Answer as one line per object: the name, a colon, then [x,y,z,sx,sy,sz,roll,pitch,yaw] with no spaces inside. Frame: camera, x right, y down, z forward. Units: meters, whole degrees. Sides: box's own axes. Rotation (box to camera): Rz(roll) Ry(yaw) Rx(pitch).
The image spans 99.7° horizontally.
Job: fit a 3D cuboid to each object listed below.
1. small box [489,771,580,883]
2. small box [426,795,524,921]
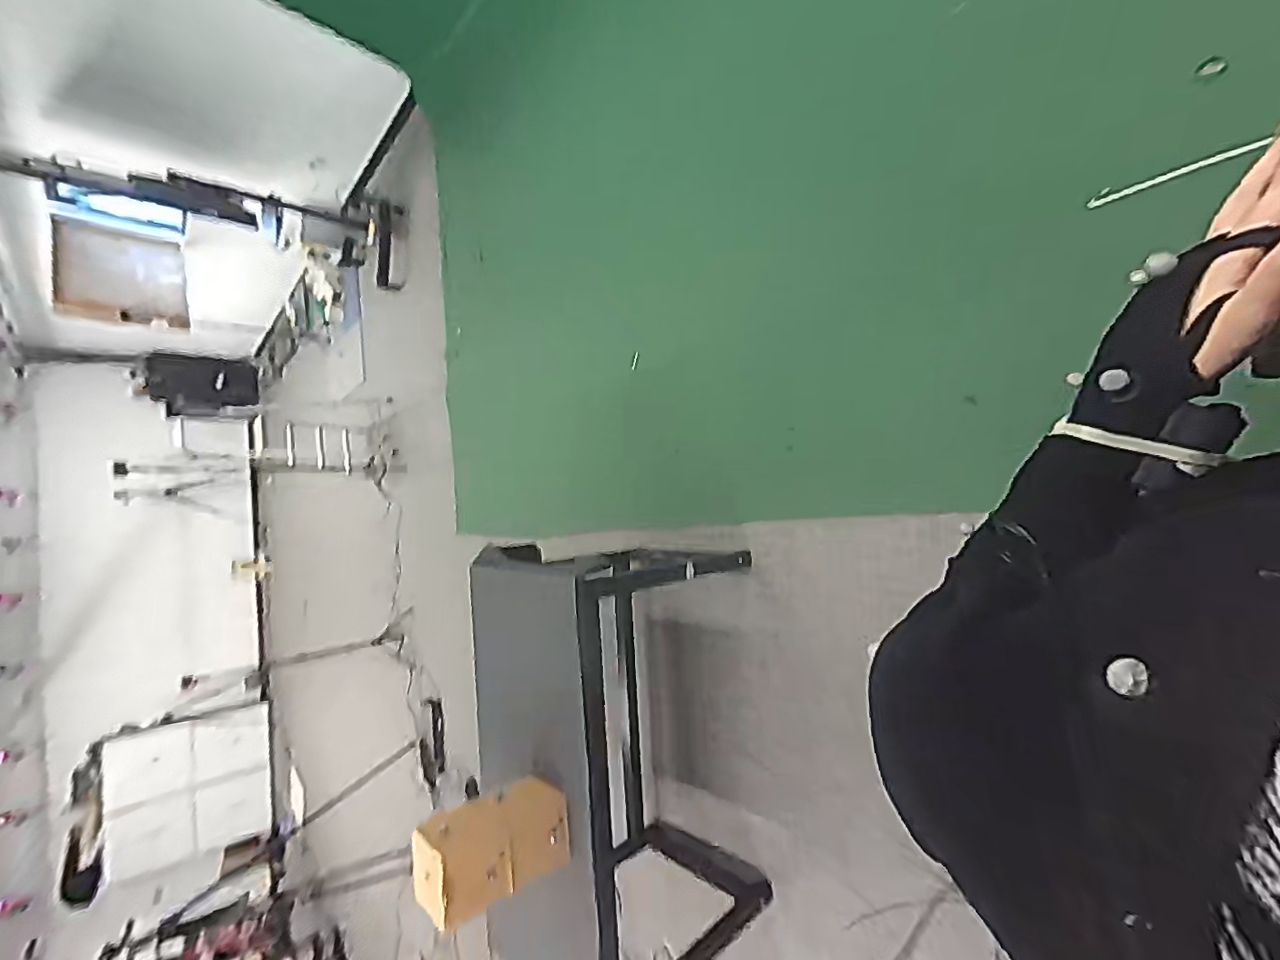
small box: [-0.274,0.885,1.403,0.179,0.176,0.168,-8,86,48]
small box: [-0.396,0.888,1.295,0.179,0.176,0.168,-8,85,48]
